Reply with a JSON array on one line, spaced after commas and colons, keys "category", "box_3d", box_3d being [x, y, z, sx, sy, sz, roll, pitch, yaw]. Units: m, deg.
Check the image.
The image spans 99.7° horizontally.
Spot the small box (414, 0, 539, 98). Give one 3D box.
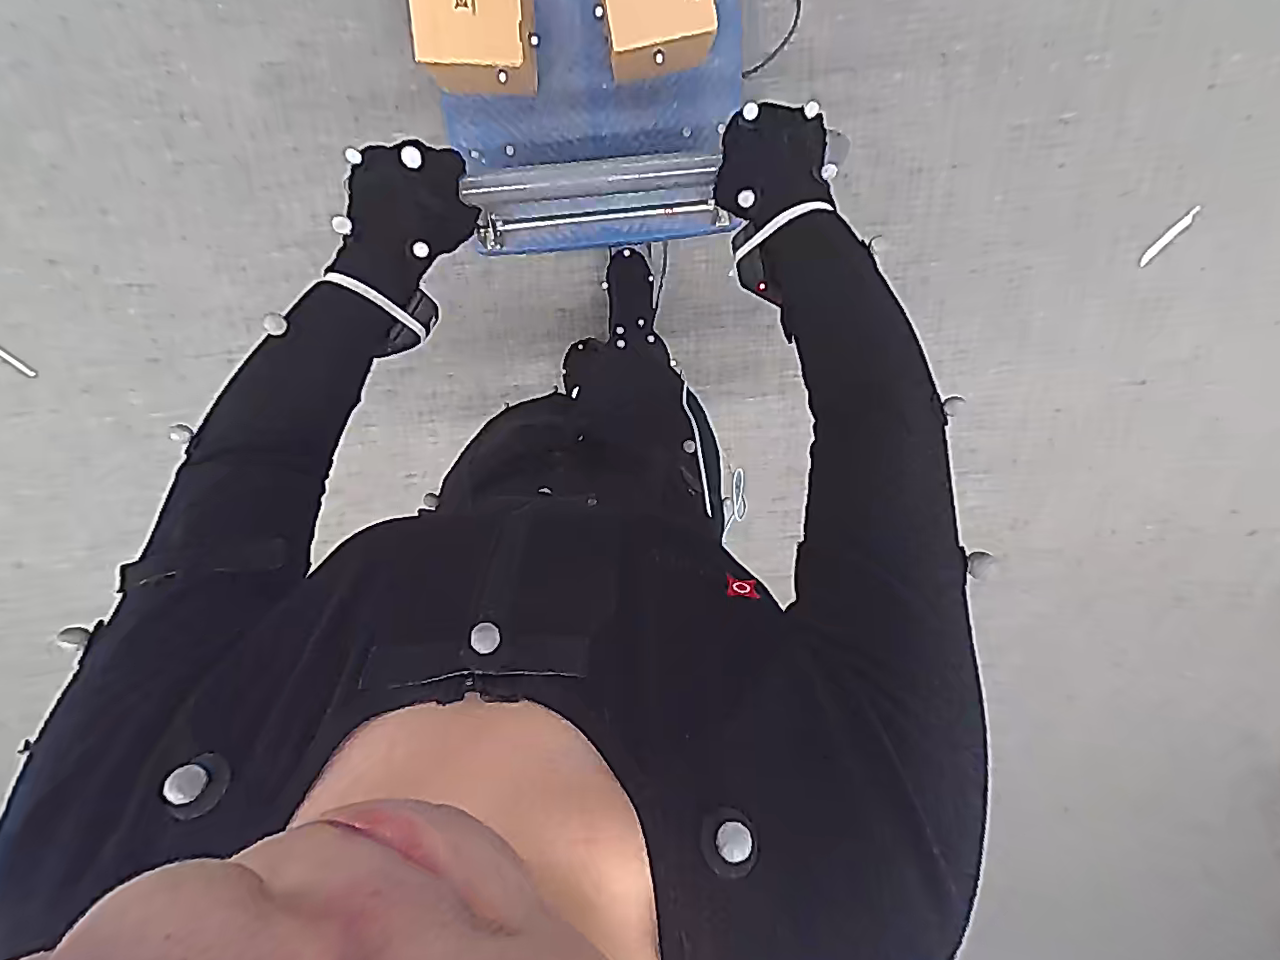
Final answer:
[{"category": "small box", "box_3d": [-0.276, -0.784, 0.935, 0.179, 0.176, 0.168, -1, 111, -3]}]

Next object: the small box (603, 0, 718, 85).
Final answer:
[{"category": "small box", "box_3d": [0.028, -0.815, 0.932, 0.179, 0.176, 0.168, -11, 112, 2]}]
